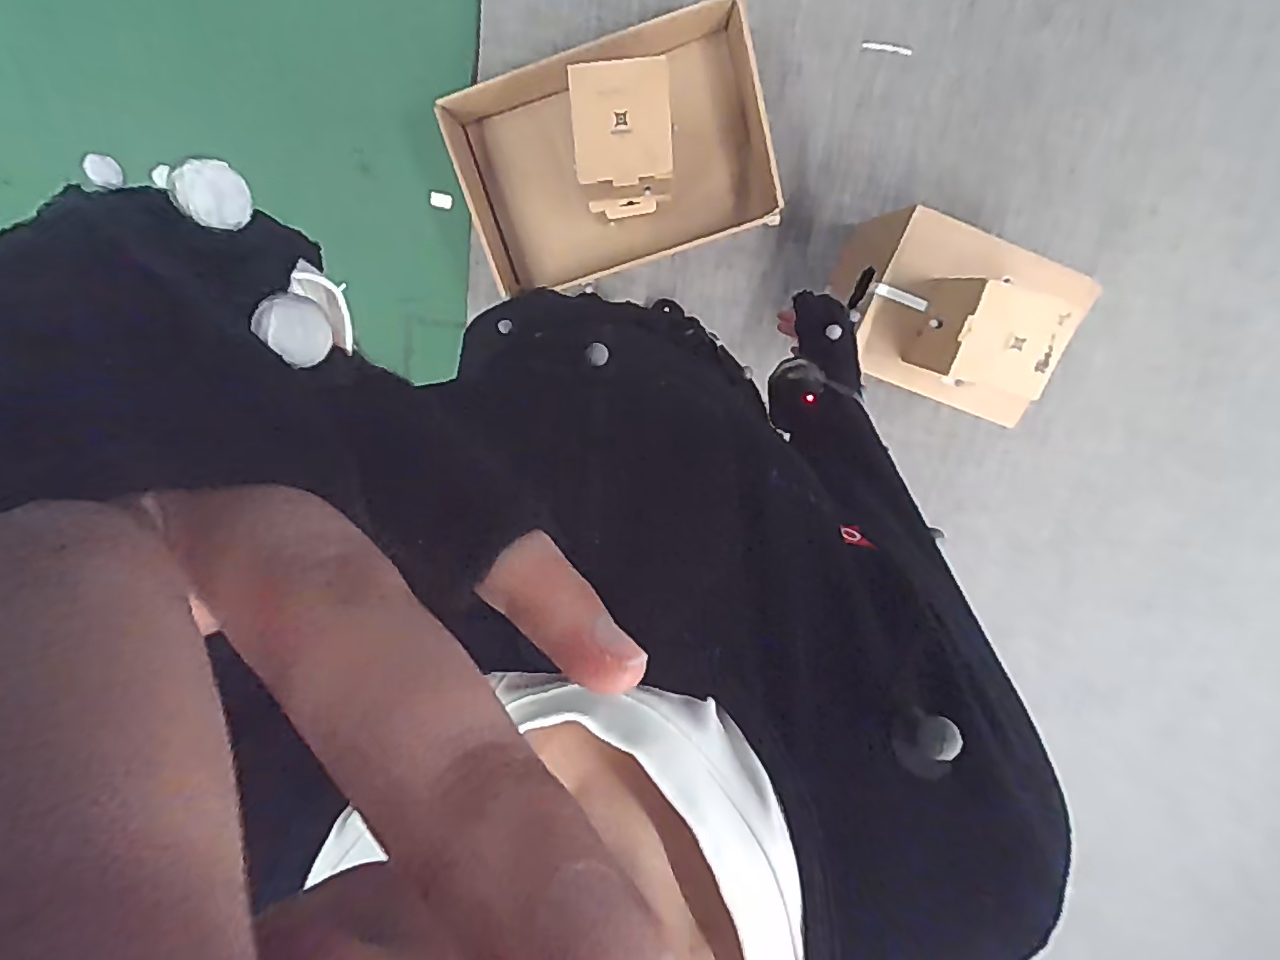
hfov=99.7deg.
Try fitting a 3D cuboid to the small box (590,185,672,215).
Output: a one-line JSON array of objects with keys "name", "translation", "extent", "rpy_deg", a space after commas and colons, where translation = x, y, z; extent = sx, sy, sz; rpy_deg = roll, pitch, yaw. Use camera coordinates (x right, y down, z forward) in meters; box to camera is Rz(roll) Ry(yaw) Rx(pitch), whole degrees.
[{"name": "small box", "translation": [-0.023, -0.662, 1.126], "extent": [0.168, 0.176, 0.179], "rpy_deg": [-8, 108, 5]}]

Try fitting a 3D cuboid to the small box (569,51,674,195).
[{"name": "small box", "translation": [-0.025, -0.623, 0.969], "extent": [0.168, 0.176, 0.179], "rpy_deg": [-5, 107, 3]}]

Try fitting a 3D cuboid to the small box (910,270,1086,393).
[{"name": "small box", "translation": [0.628, -0.270, 0.978], "extent": [0.179, 0.176, 0.168], "rpy_deg": [14, 110, -4]}]
